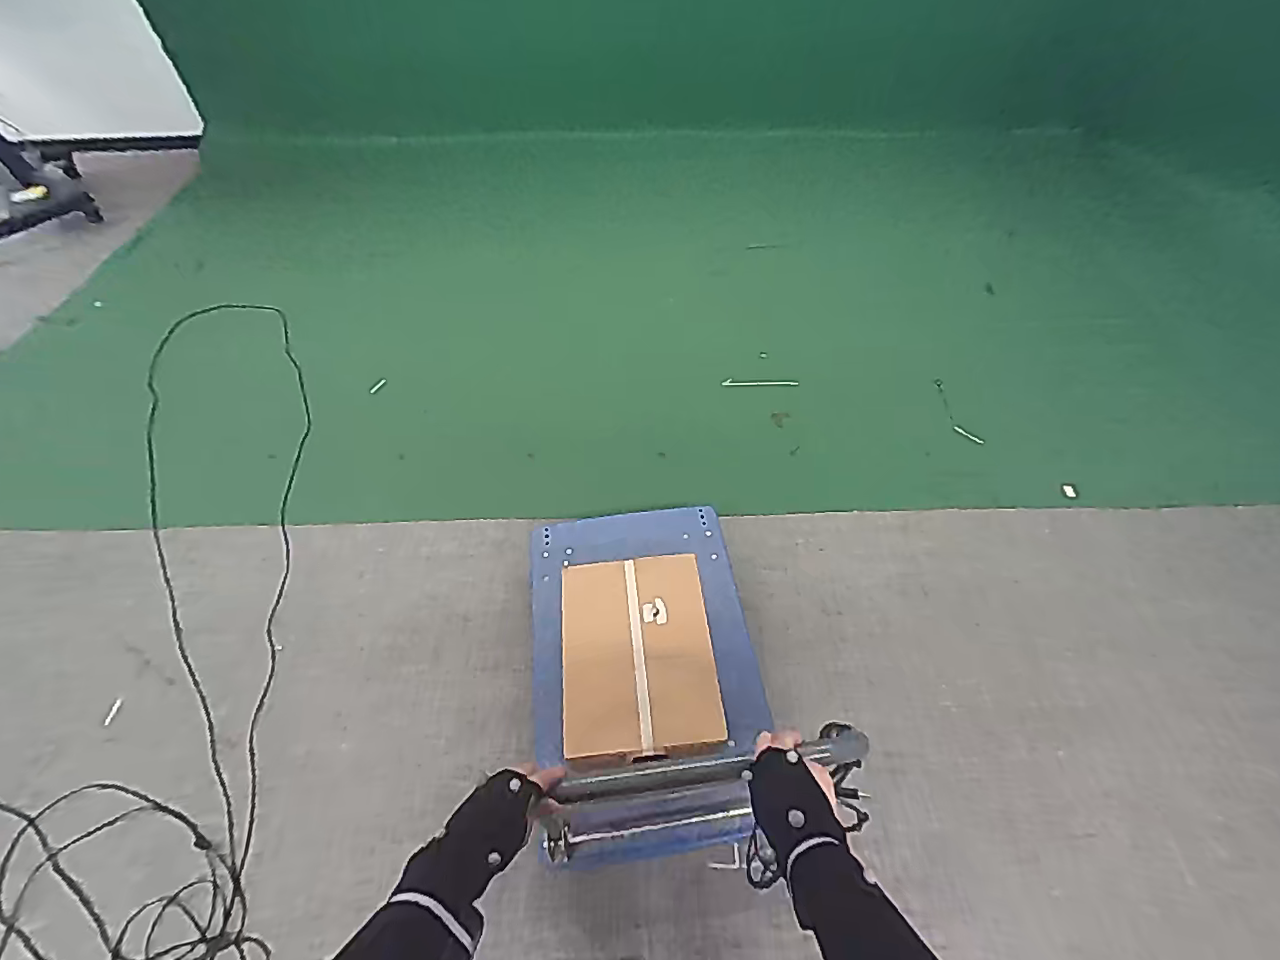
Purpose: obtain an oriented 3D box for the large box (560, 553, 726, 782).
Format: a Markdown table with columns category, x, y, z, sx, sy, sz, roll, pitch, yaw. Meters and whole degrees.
| category | x | y | z | sx | sy | sz | roll | pitch | yaw |
| --- | --- | --- | --- | --- | --- | --- | --- | --- | --- |
| large box | -0.006 | 0.429 | 1.239 | 0.320 | 0.320 | 0.408 | -5 | 53 | -3 |
